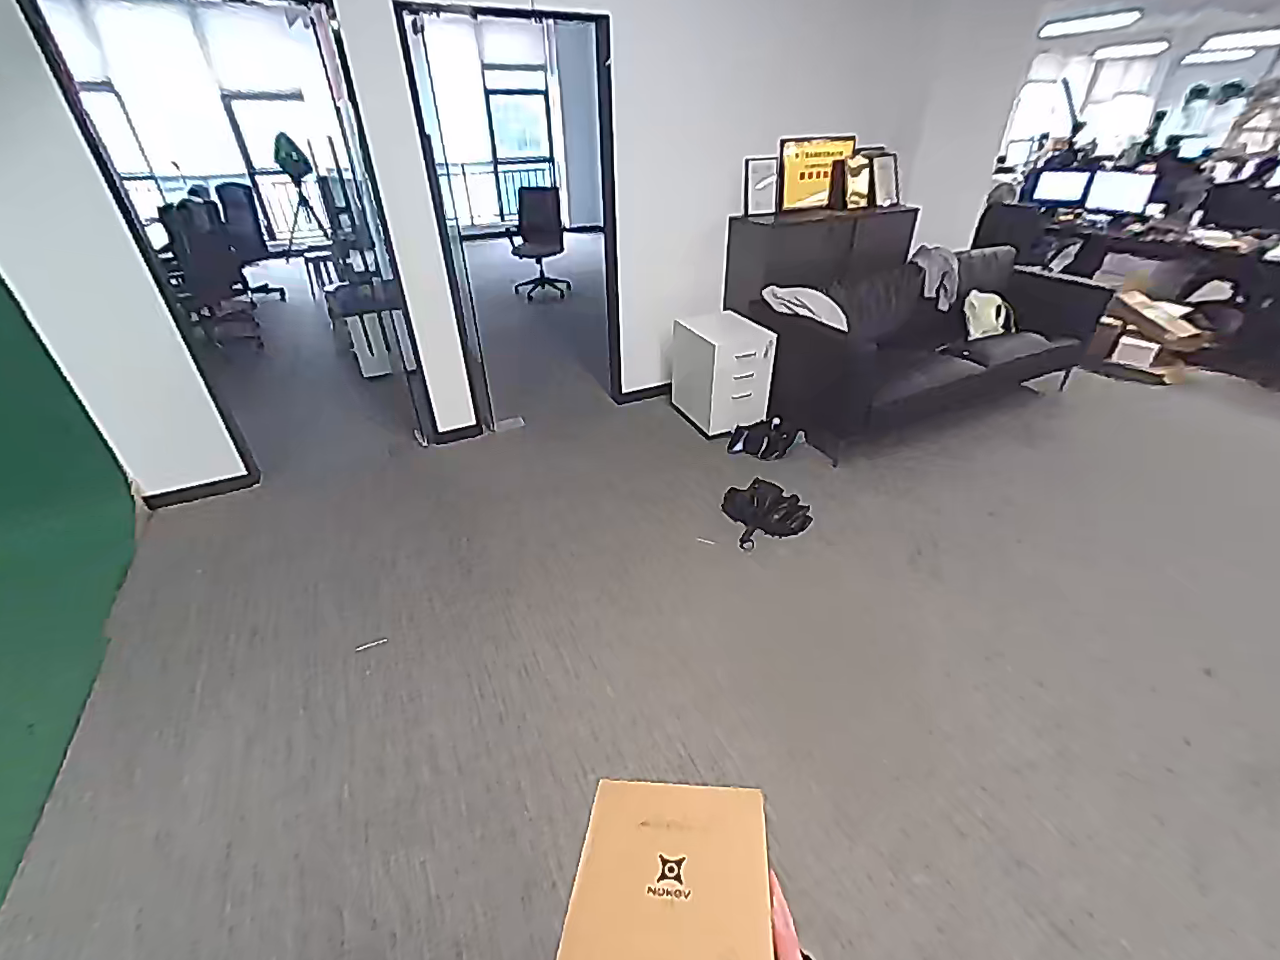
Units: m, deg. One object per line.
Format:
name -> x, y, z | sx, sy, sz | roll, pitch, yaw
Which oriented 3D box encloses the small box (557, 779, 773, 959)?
small box -> 0.034, 0.411, 0.488 | 0.168, 0.176, 0.179 | -1, 20, 9
